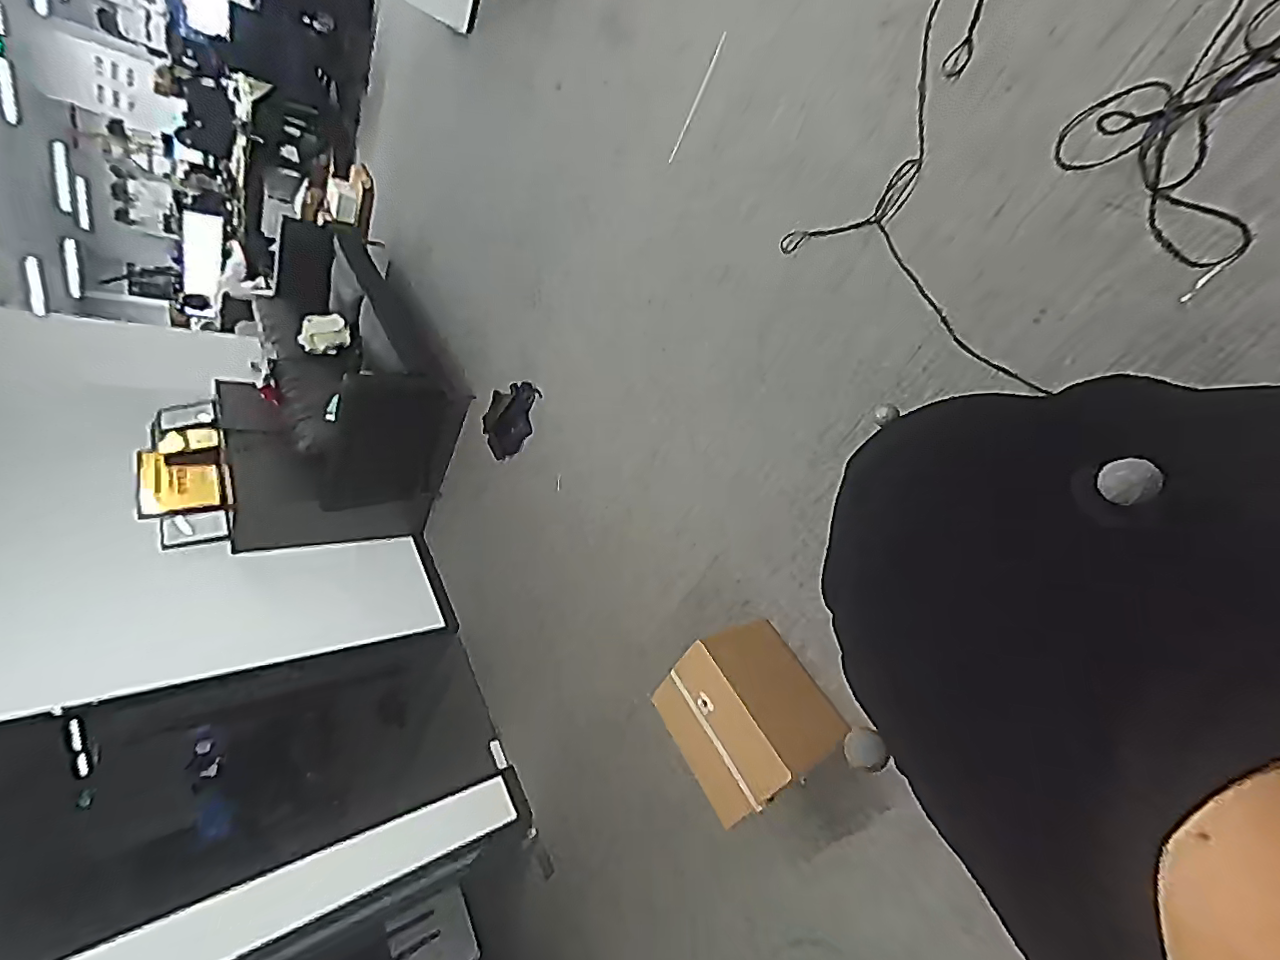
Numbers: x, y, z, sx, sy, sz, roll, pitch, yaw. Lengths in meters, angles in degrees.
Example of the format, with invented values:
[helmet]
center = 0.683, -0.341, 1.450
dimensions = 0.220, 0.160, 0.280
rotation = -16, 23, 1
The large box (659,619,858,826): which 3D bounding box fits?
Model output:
[large box]
center = 0.330, 0.676, 1.562
dimensions = 0.408, 0.320, 0.320
rotation = 54, 128, 34
